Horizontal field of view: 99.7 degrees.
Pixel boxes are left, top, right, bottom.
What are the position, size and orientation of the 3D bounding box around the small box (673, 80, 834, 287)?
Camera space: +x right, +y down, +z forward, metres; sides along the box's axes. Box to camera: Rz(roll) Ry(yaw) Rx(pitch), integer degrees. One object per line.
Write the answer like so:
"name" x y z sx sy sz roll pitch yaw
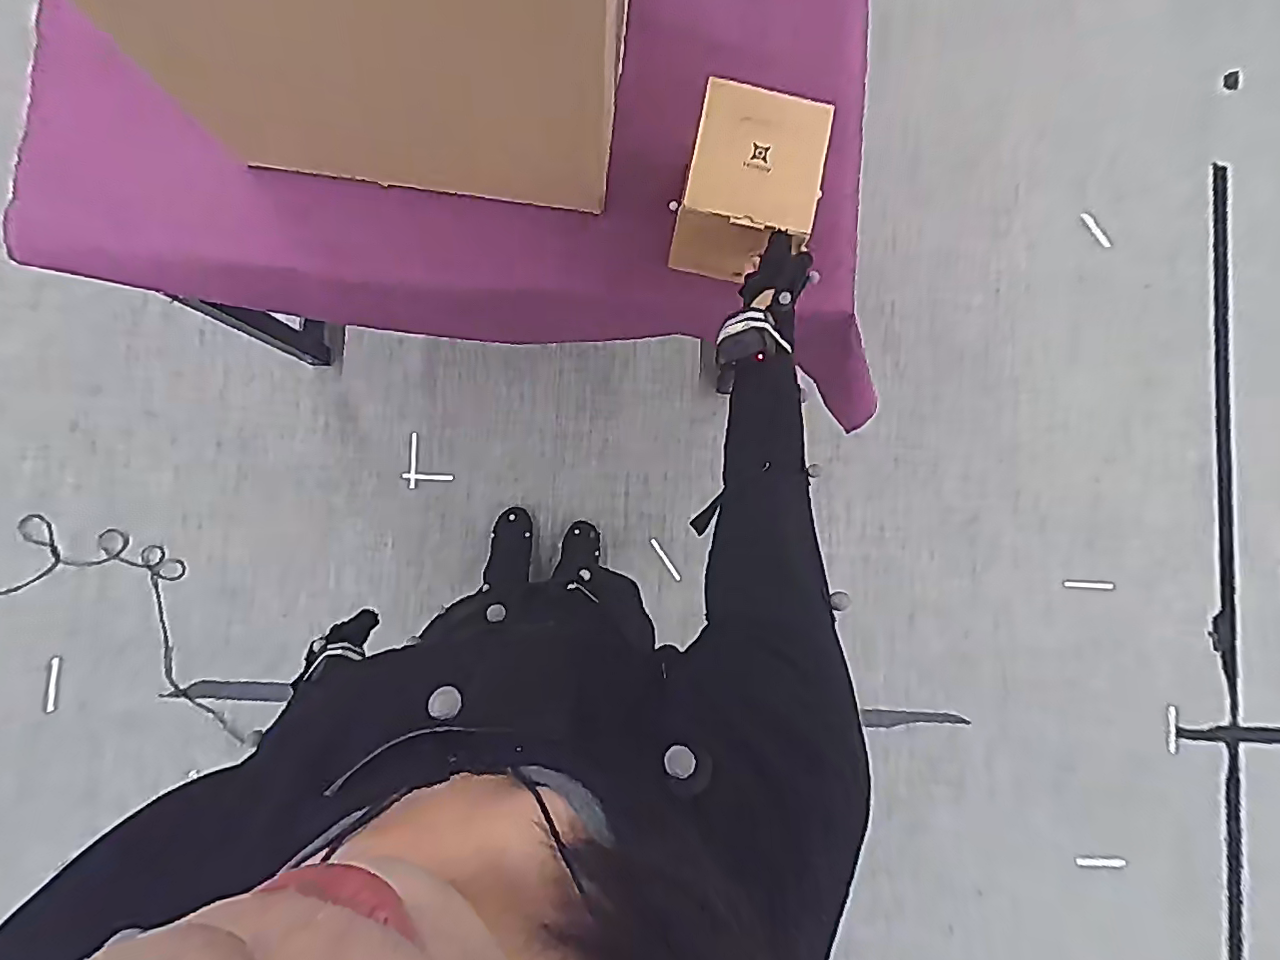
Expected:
"small box" 0.146 -0.395 0.753 0.168 0.176 0.179 11 85 -4
